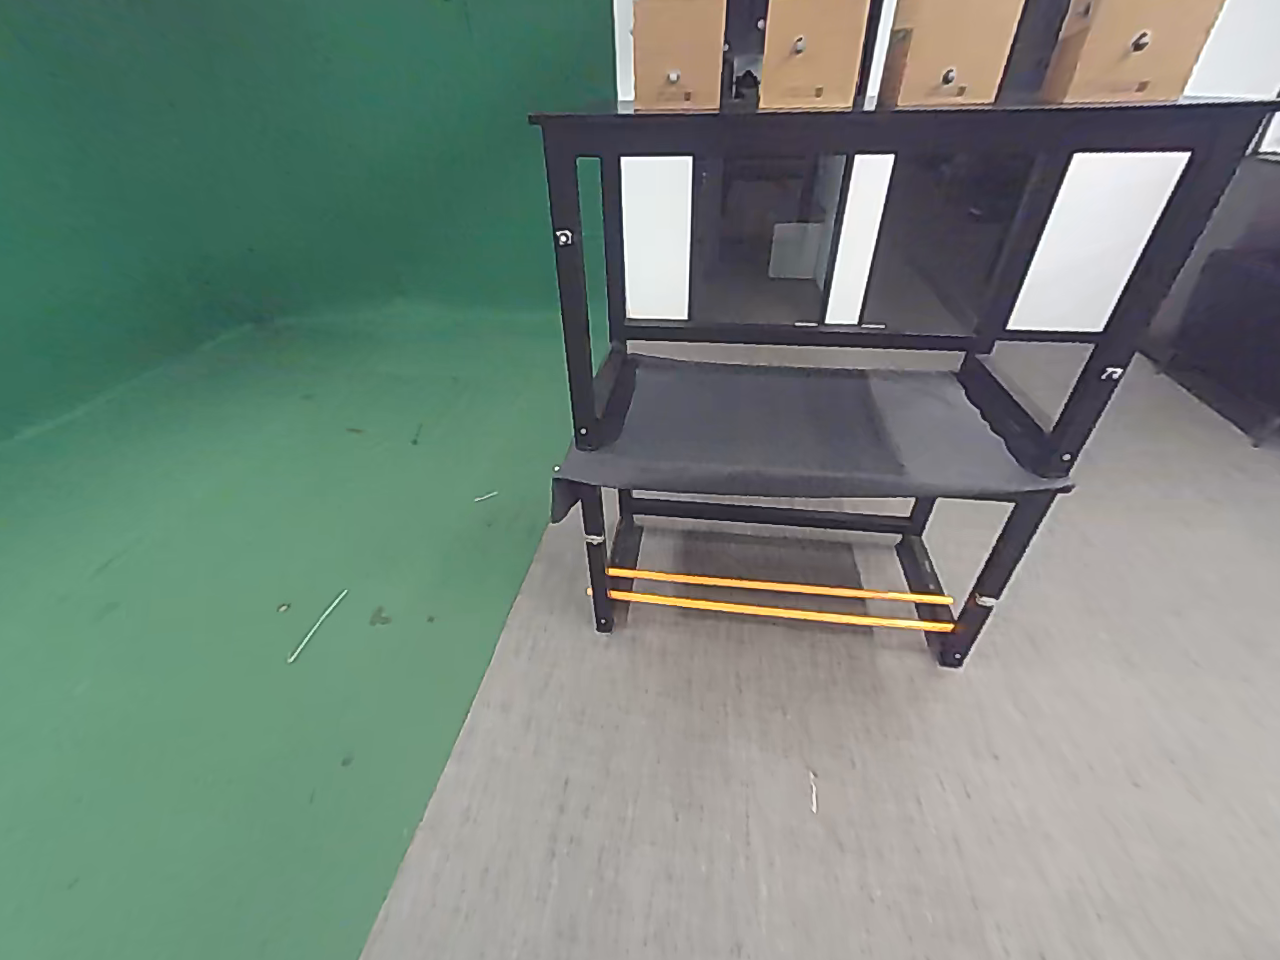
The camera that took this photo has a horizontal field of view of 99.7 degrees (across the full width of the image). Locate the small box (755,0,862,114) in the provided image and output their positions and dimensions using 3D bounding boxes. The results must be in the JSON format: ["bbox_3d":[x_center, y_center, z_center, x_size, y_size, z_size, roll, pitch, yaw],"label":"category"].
[{"bbox_3d":[0.309,-0.792,1.012,0.168,0.176,0.179,5,37,9],"label":"small box"}]

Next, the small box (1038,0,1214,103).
[{"bbox_3d":[0.813,-0.743,0.913,0.168,0.176,0.179,10,38,15],"label":"small box"}]

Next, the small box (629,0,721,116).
[{"bbox_3d":[0.069,-0.821,1.061,0.168,0.176,0.179,1,37,5],"label":"small box"}]
